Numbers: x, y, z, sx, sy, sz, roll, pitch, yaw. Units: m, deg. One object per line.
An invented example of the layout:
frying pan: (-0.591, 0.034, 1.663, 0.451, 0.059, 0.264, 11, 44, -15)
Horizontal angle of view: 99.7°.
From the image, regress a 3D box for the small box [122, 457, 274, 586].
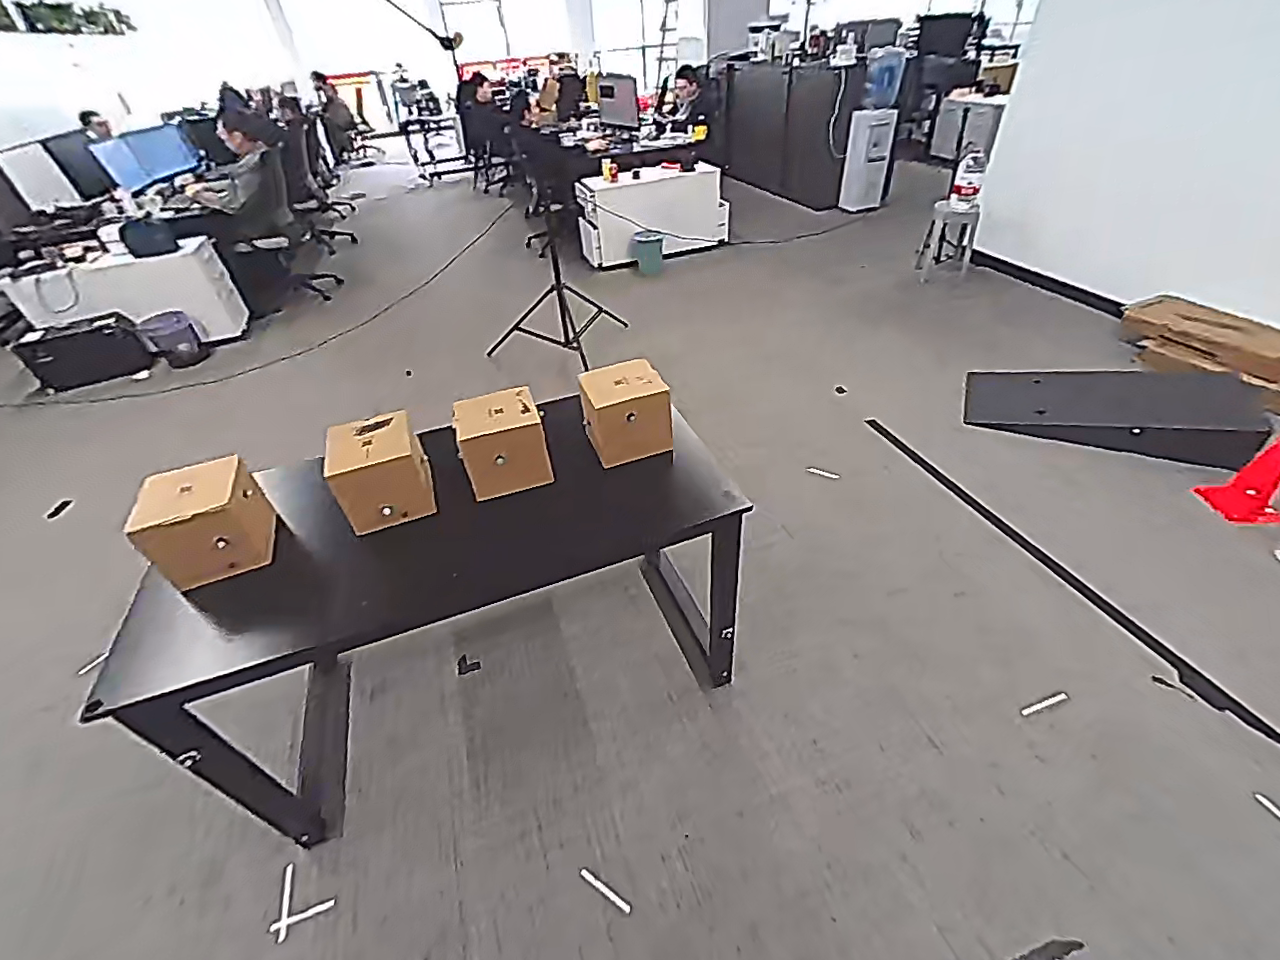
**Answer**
small box: (-0.858, 0.086, 1.072, 0.168, 0.176, 0.179, -18, 41, -17)

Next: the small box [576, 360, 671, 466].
small box: (-0.035, -0.155, 1.271, 0.179, 0.176, 0.168, -16, 42, -12)

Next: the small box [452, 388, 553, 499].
small box: (-0.307, -0.079, 1.213, 0.179, 0.176, 0.168, -16, 41, -11)

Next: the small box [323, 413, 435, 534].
small box: (-0.553, -0.014, 1.159, 0.168, 0.176, 0.179, -17, 42, -14)
